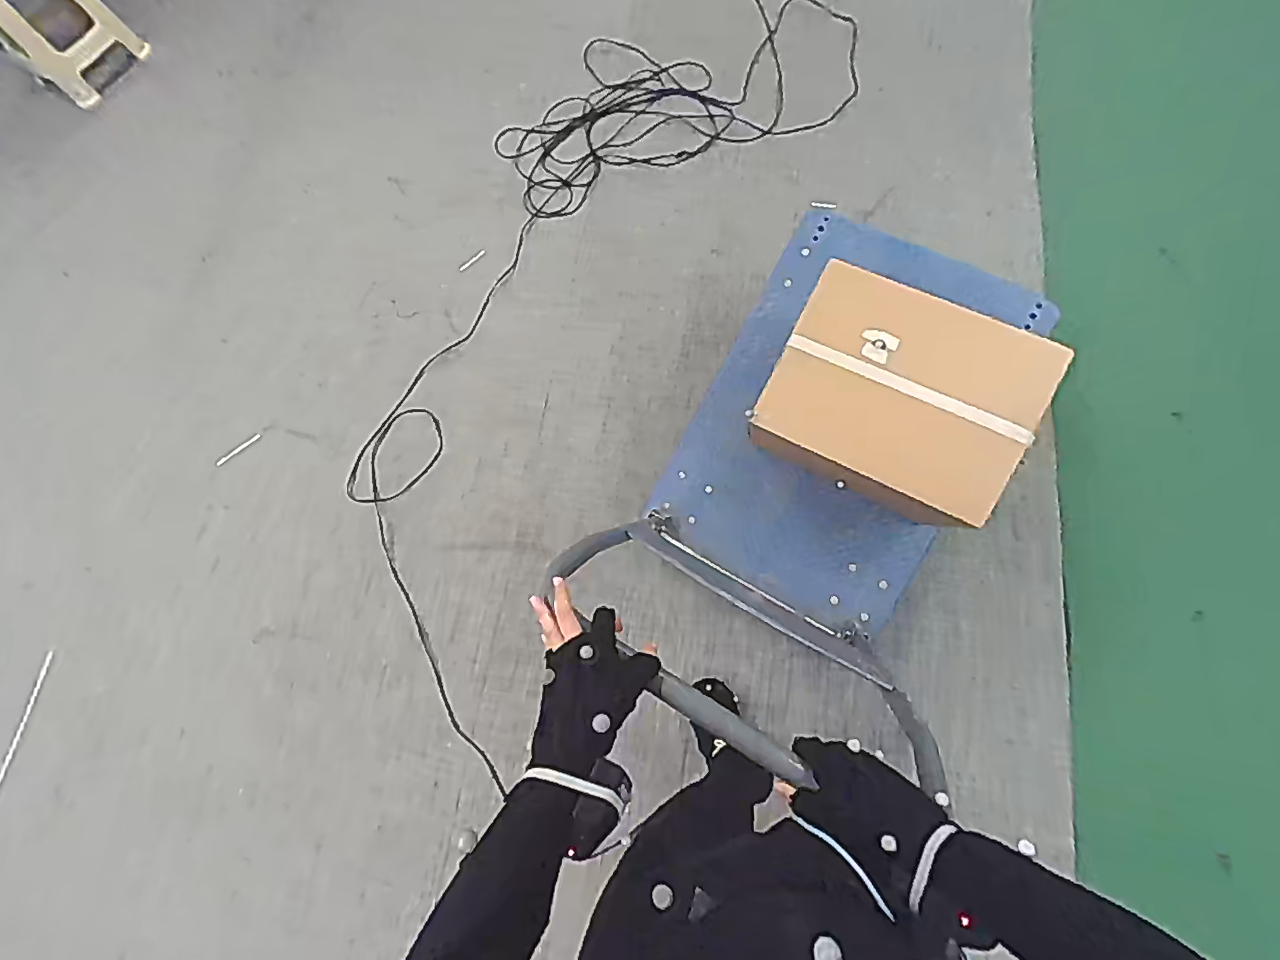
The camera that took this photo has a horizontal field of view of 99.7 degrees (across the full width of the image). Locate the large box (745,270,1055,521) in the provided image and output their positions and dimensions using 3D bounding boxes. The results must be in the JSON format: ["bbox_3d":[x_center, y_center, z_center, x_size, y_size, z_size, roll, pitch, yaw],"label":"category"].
[{"bbox_3d":[0.456,-0.144,1.049,0.408,0.320,0.320,26,93,13],"label":"large box"}]
